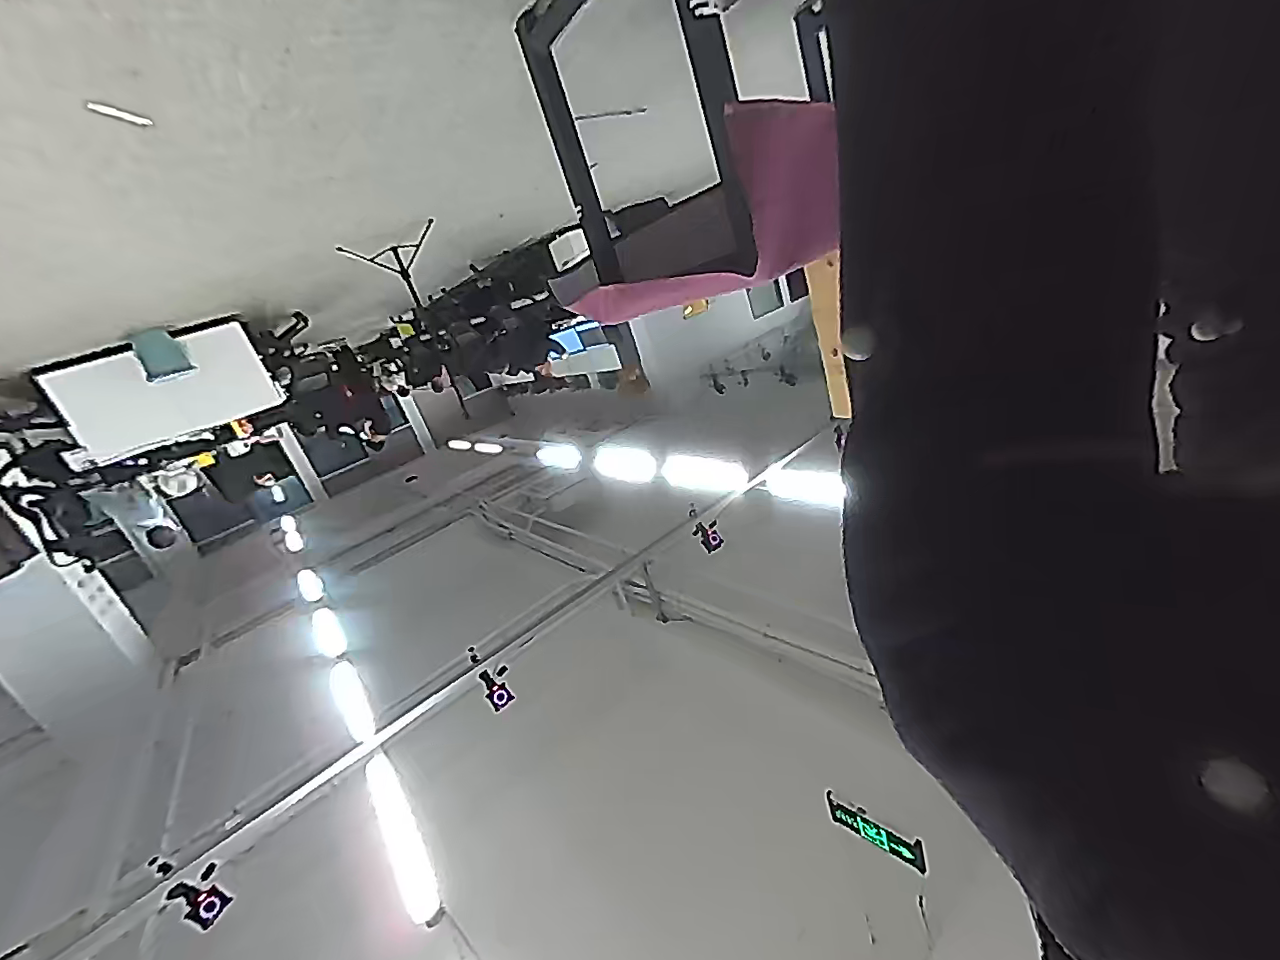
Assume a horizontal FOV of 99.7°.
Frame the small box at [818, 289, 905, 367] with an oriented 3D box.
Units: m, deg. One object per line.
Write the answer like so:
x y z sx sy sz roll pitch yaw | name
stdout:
0.633 -0.438 1.557 0.168 0.176 0.179 -32 -157 -31 | small box
